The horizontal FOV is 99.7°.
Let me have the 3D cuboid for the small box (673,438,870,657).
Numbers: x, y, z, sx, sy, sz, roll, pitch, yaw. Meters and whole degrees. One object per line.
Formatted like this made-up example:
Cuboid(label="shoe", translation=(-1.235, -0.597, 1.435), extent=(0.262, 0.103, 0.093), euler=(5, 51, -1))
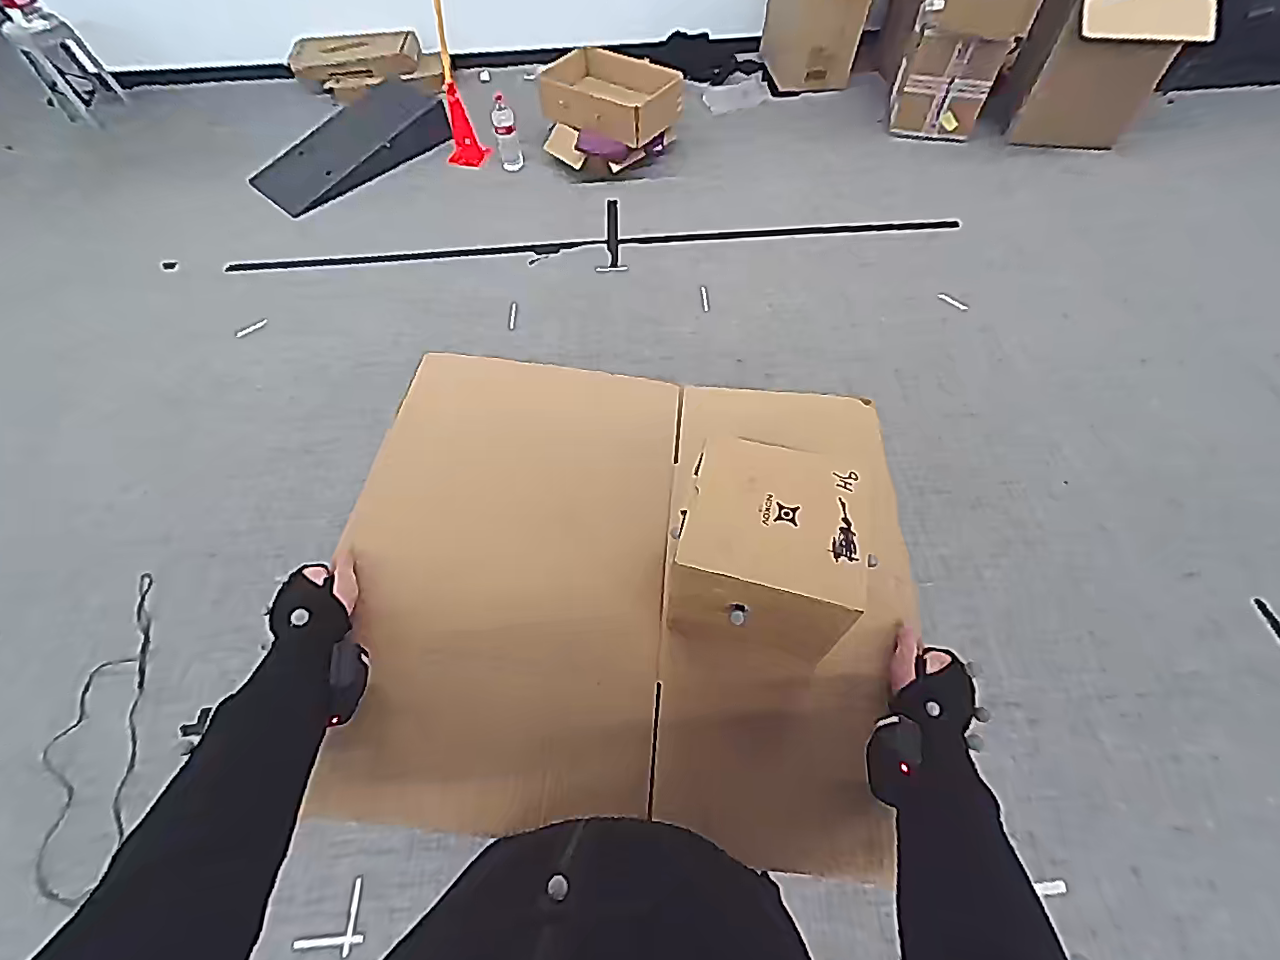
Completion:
Cuboid(label="small box", translation=(0.138, 0.080, 0.603), extent=(0.179, 0.176, 0.168), euler=(12, 57, 10))
